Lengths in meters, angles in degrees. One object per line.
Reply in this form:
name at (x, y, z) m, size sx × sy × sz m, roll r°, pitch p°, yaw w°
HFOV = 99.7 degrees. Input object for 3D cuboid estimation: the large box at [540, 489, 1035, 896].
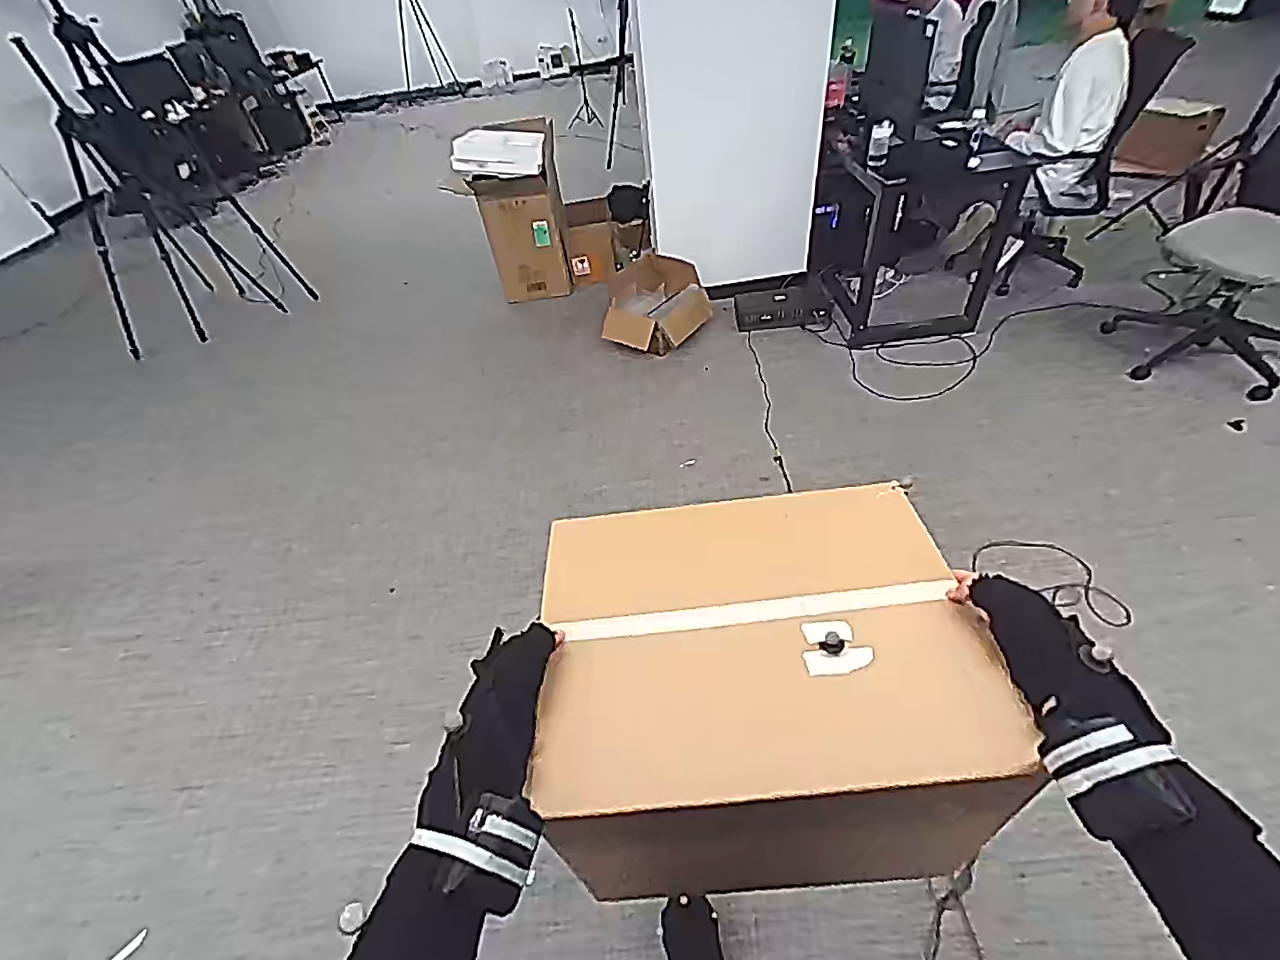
large box at (0.123, 0.247, 0.634) m, size 0.408 × 0.320 × 0.320 m, roll -7°, pitch 42°, yaw 3°
